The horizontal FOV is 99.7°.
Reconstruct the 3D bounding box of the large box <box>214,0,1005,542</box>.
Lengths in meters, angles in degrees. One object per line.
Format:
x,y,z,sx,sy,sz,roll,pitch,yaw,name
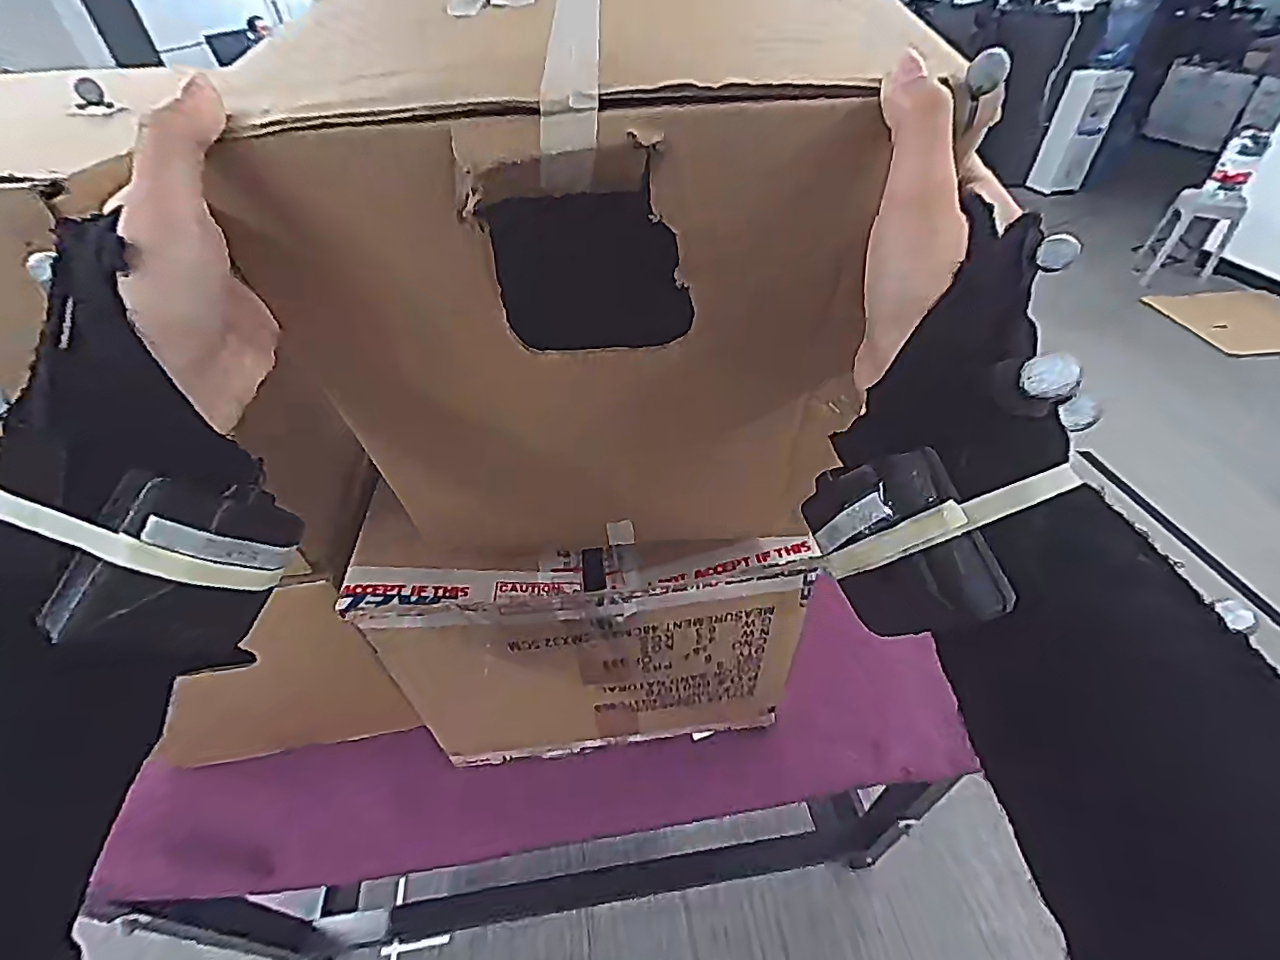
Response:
-0.018,-0.202,0.440,0.320,0.320,0.408,-4,54,1,large box
